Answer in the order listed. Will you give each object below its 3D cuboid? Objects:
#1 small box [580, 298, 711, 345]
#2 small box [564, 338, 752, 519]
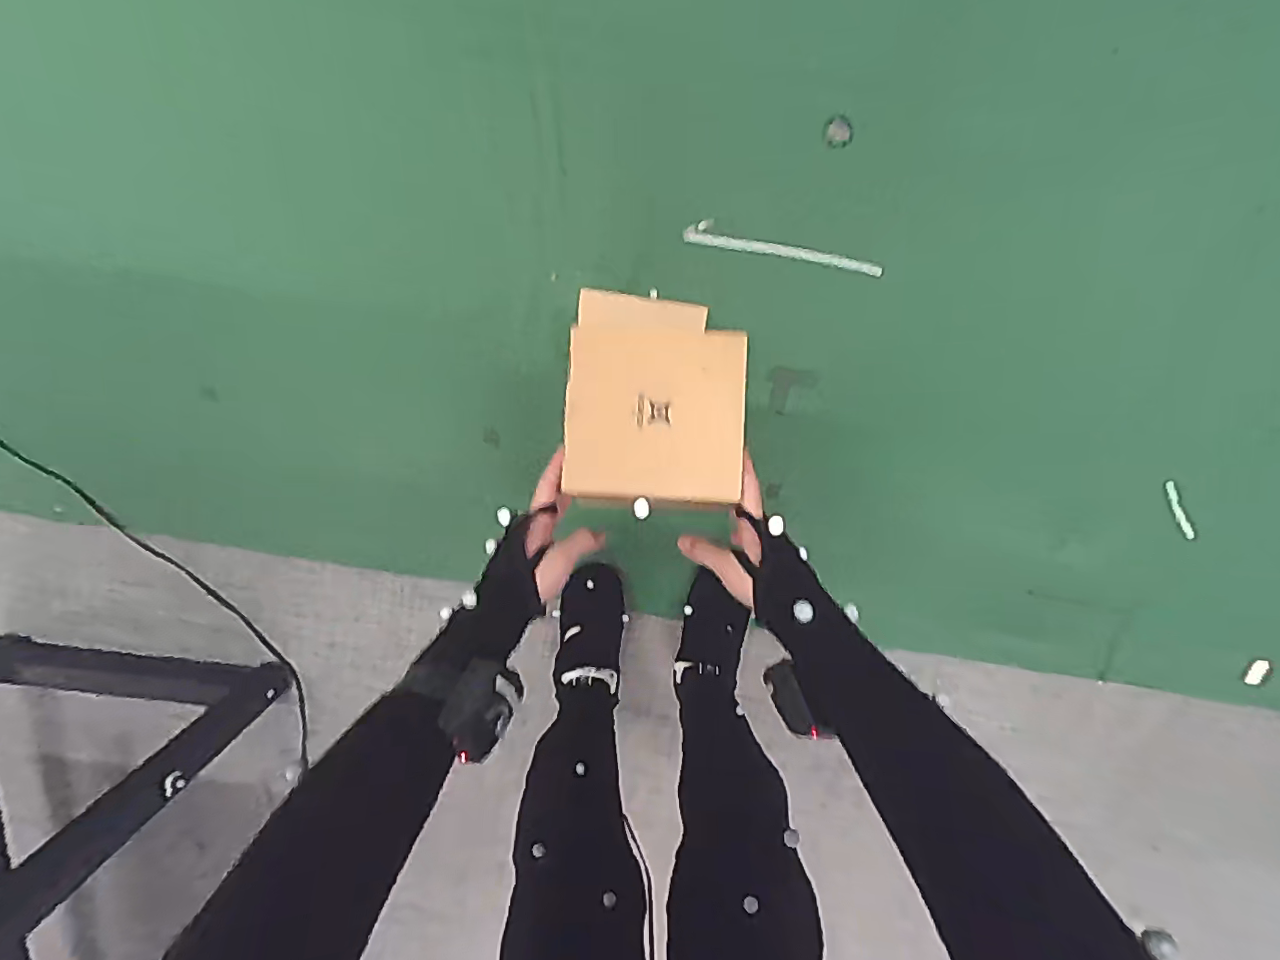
[{"bbox_3d":[0.002,-0.173,0.822,0.179,0.176,0.168,9,103,1],"label":"small box"},{"bbox_3d":[0.019,-0.045,0.599,0.179,0.176,0.168,3,83,2],"label":"small box"}]
